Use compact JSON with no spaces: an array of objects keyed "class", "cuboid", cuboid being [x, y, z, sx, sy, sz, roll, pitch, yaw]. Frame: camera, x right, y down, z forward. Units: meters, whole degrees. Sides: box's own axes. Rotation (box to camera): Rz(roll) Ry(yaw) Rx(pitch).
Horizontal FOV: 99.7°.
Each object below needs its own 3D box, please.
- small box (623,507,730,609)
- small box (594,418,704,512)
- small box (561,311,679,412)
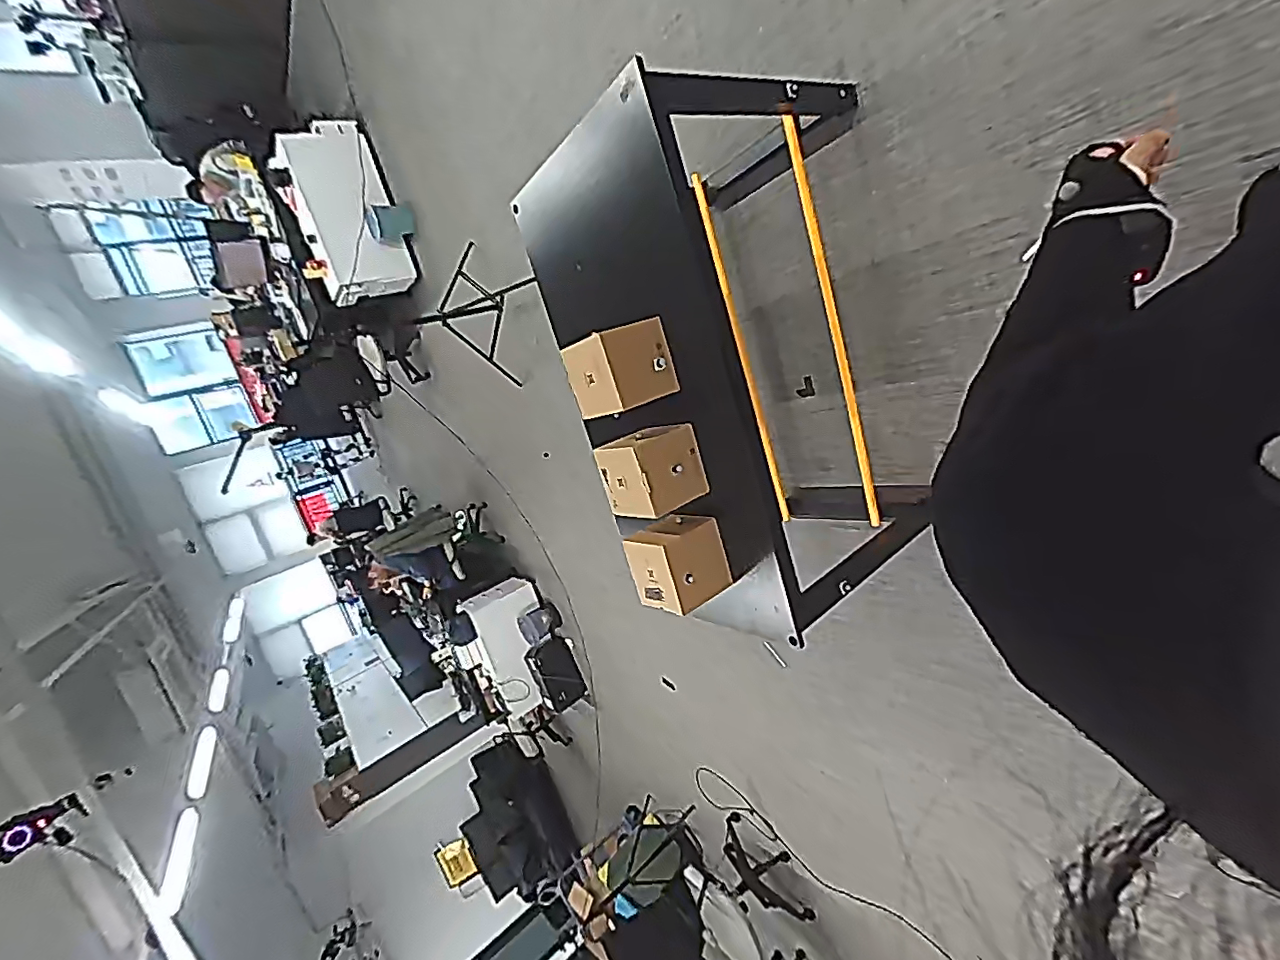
[{"class":"small box","cuboid":[0.092,0.179,1.300,0.168,0.176,0.179,0,110,55]},{"class":"small box","cuboid":[0.028,-0.038,1.247,0.179,0.176,0.168,1,112,54]},{"class":"small box","cuboid":[-0.043,-0.261,1.200,0.179,0.176,0.168,-2,111,55]}]
